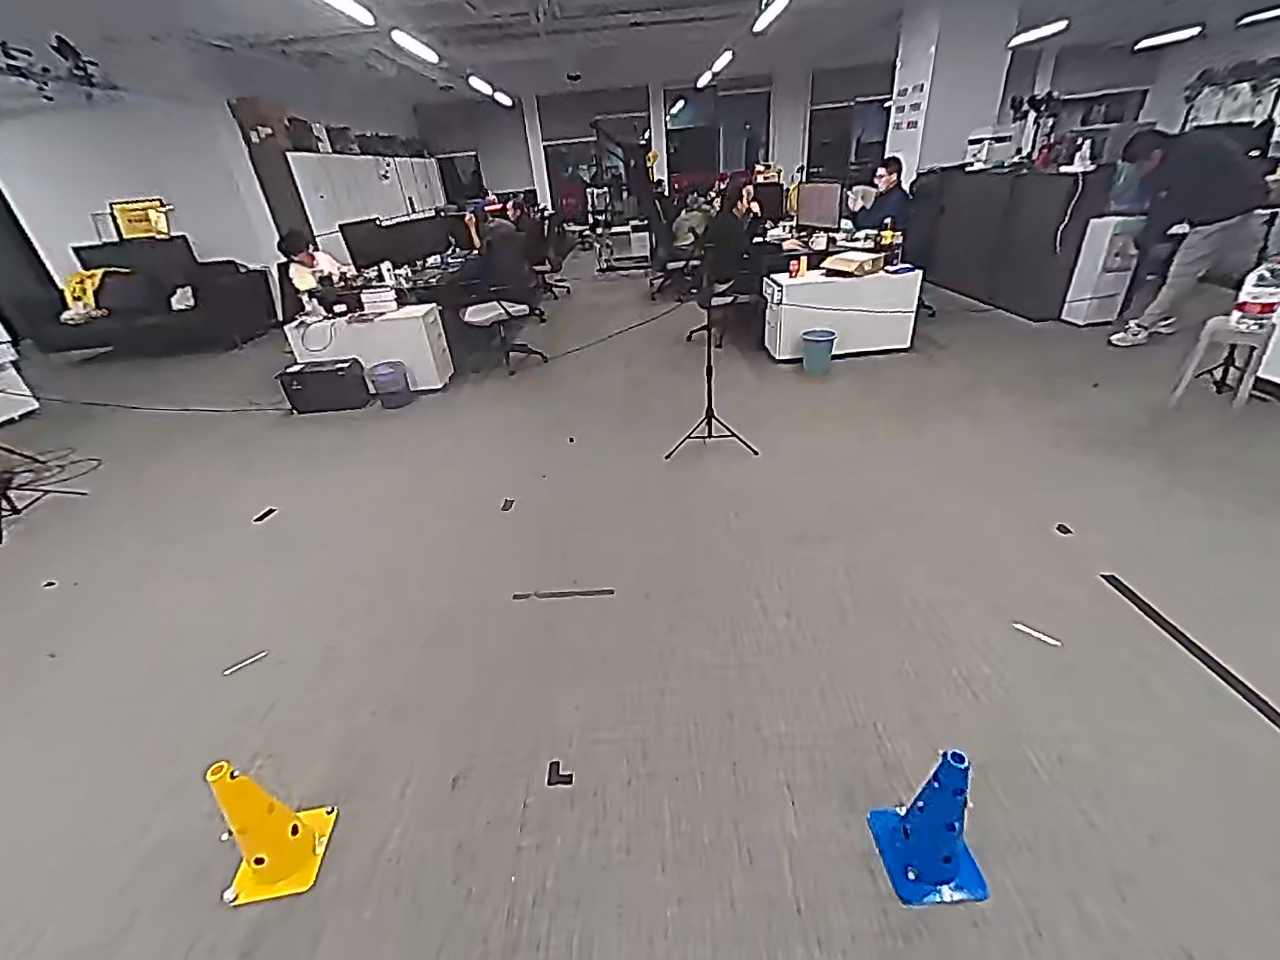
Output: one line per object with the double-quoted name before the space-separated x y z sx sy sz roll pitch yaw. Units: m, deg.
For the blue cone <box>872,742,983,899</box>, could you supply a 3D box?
"blue cone" 0.638 0.701 1.151 0.193 0.380 0.192 -4 29 2
